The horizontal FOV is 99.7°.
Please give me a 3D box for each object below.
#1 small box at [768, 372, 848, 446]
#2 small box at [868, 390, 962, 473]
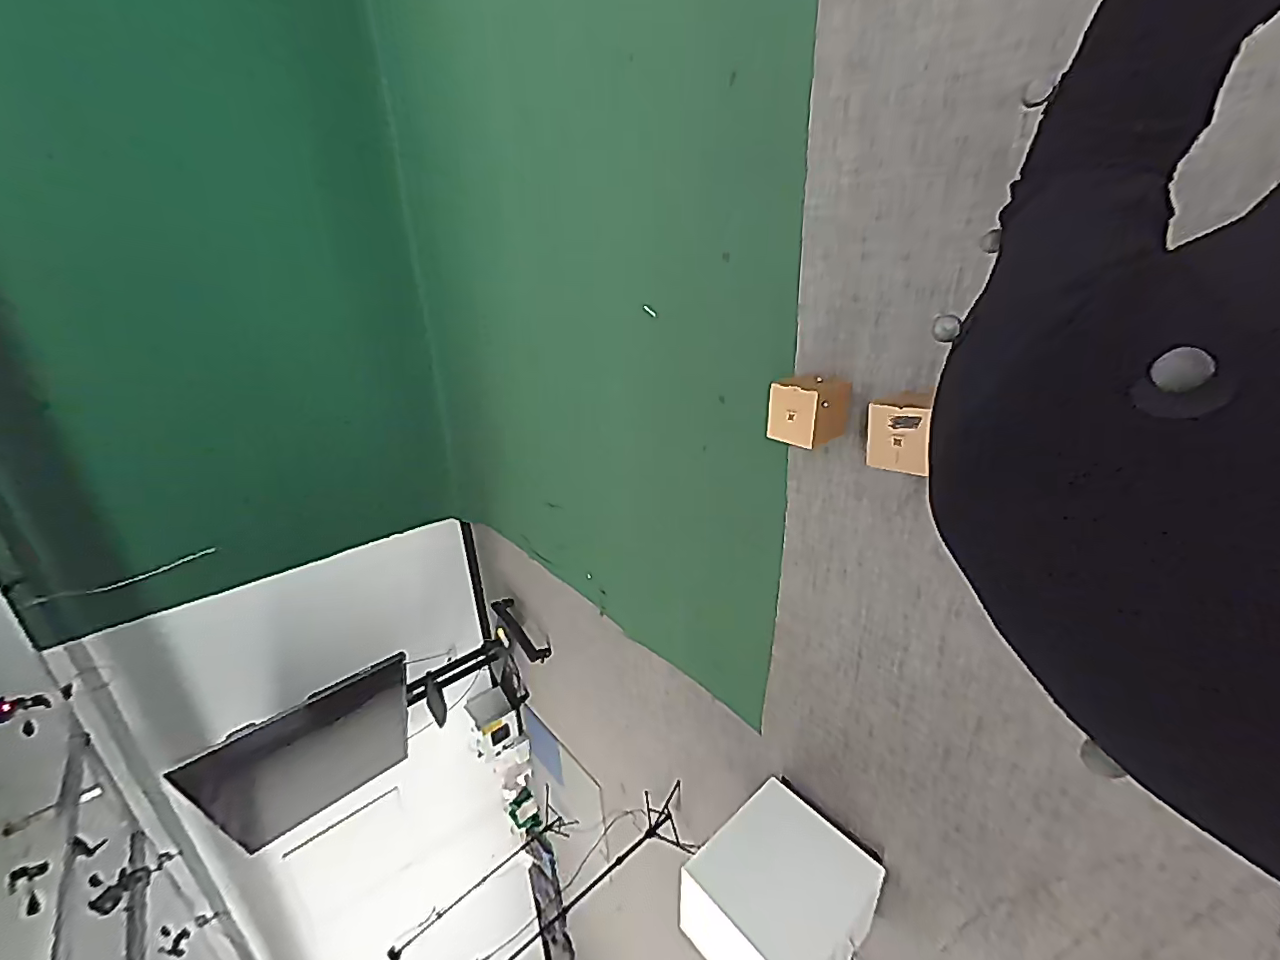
[{"bbox_3d":[0.514,-0.222,1.652,0.168,0.176,0.179,23,123,44],"label":"small box"},{"bbox_3d":[0.724,-0.135,1.421,0.168,0.176,0.179,17,119,48],"label":"small box"}]
